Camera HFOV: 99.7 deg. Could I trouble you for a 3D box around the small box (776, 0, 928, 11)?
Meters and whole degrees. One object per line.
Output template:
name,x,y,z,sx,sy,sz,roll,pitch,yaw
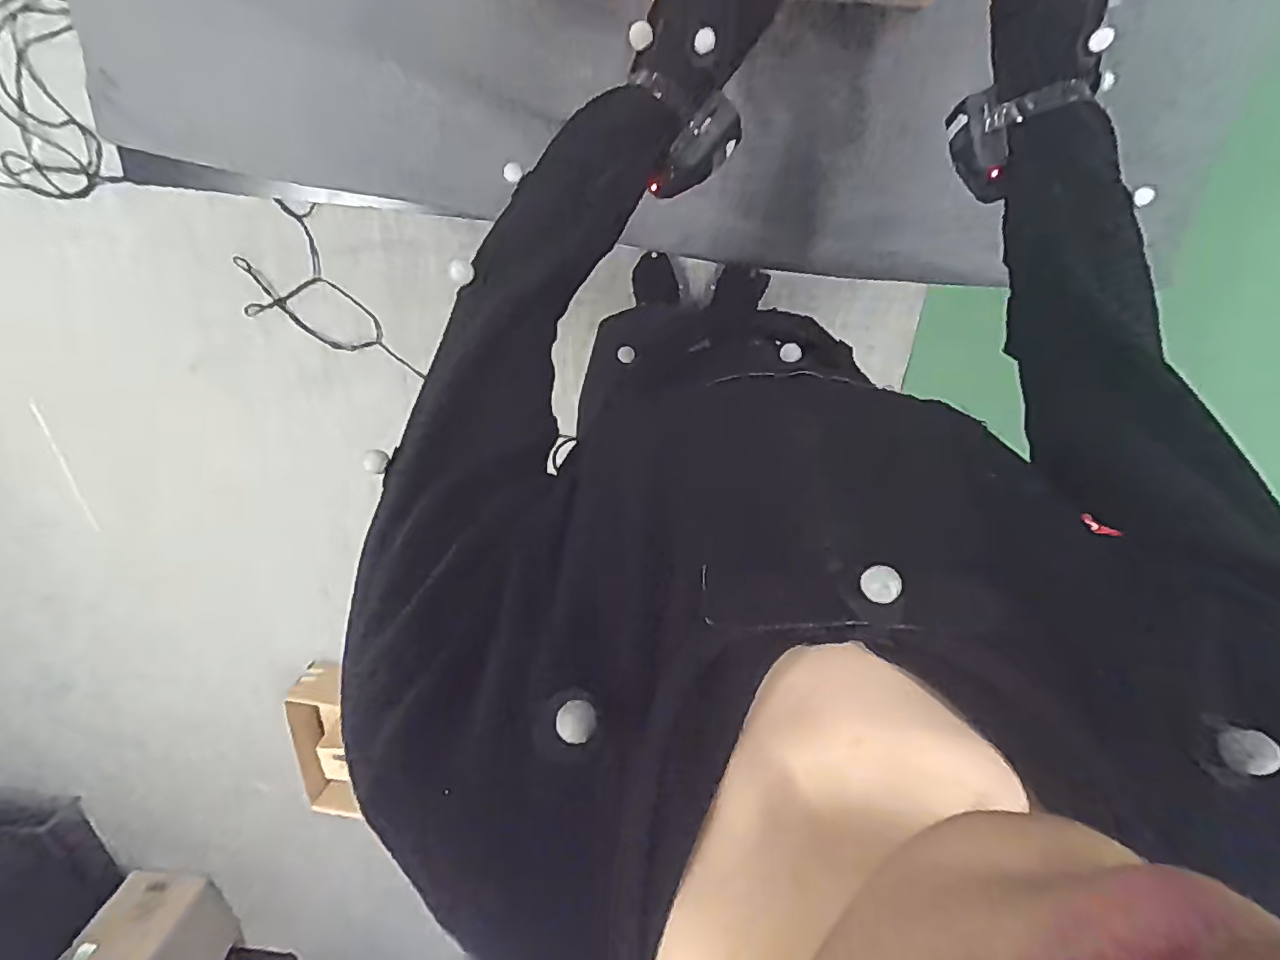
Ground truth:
small box,0.195,-0.506,0.415,0.168,0.176,0.179,7,116,4
